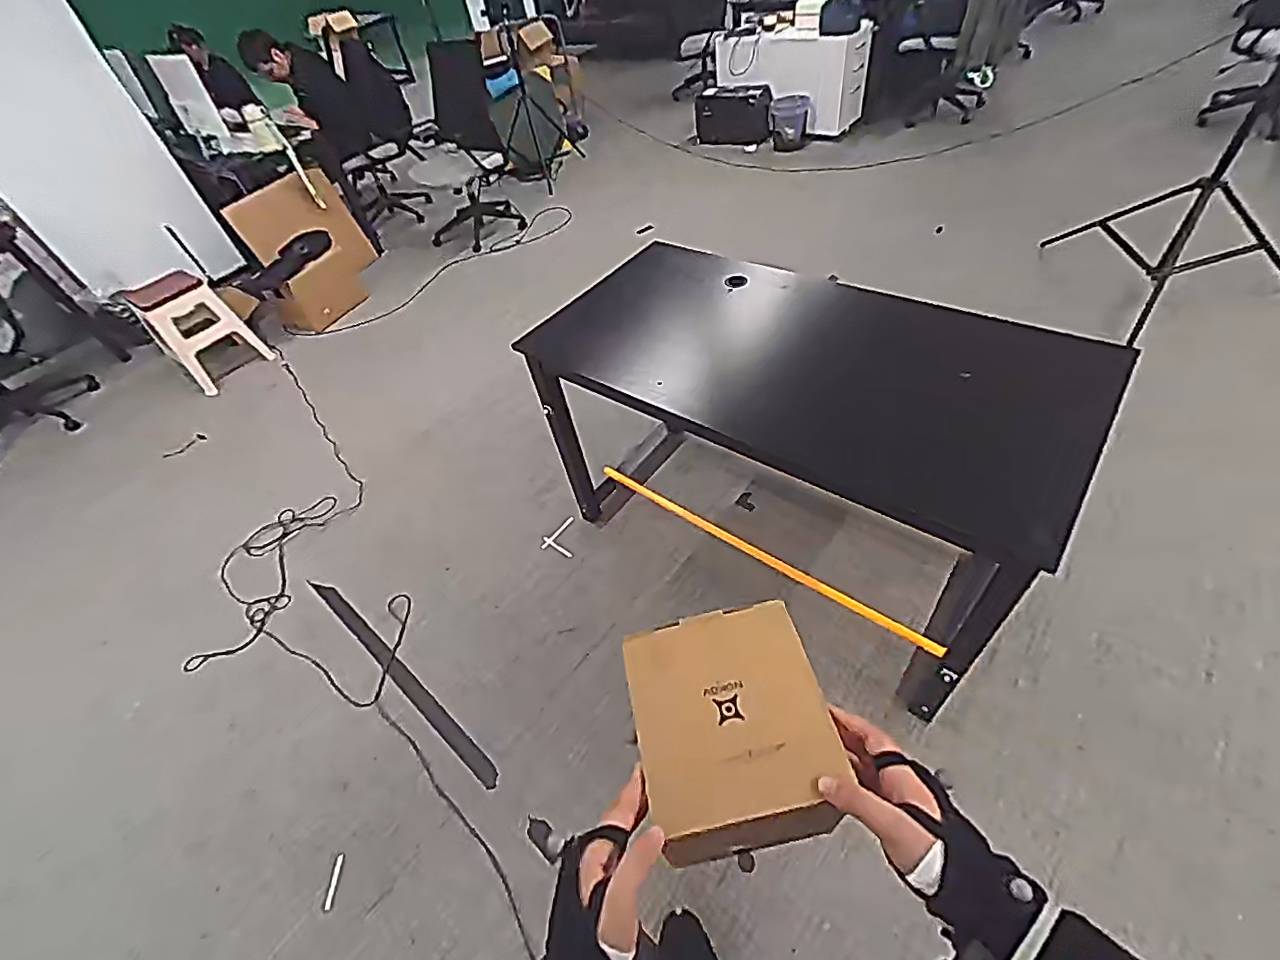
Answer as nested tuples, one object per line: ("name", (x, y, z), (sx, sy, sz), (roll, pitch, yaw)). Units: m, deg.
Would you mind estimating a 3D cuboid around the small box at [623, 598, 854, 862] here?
("small box", (0.084, 0.246, 0.532), (0.168, 0.176, 0.179), (-13, 48, -1))
